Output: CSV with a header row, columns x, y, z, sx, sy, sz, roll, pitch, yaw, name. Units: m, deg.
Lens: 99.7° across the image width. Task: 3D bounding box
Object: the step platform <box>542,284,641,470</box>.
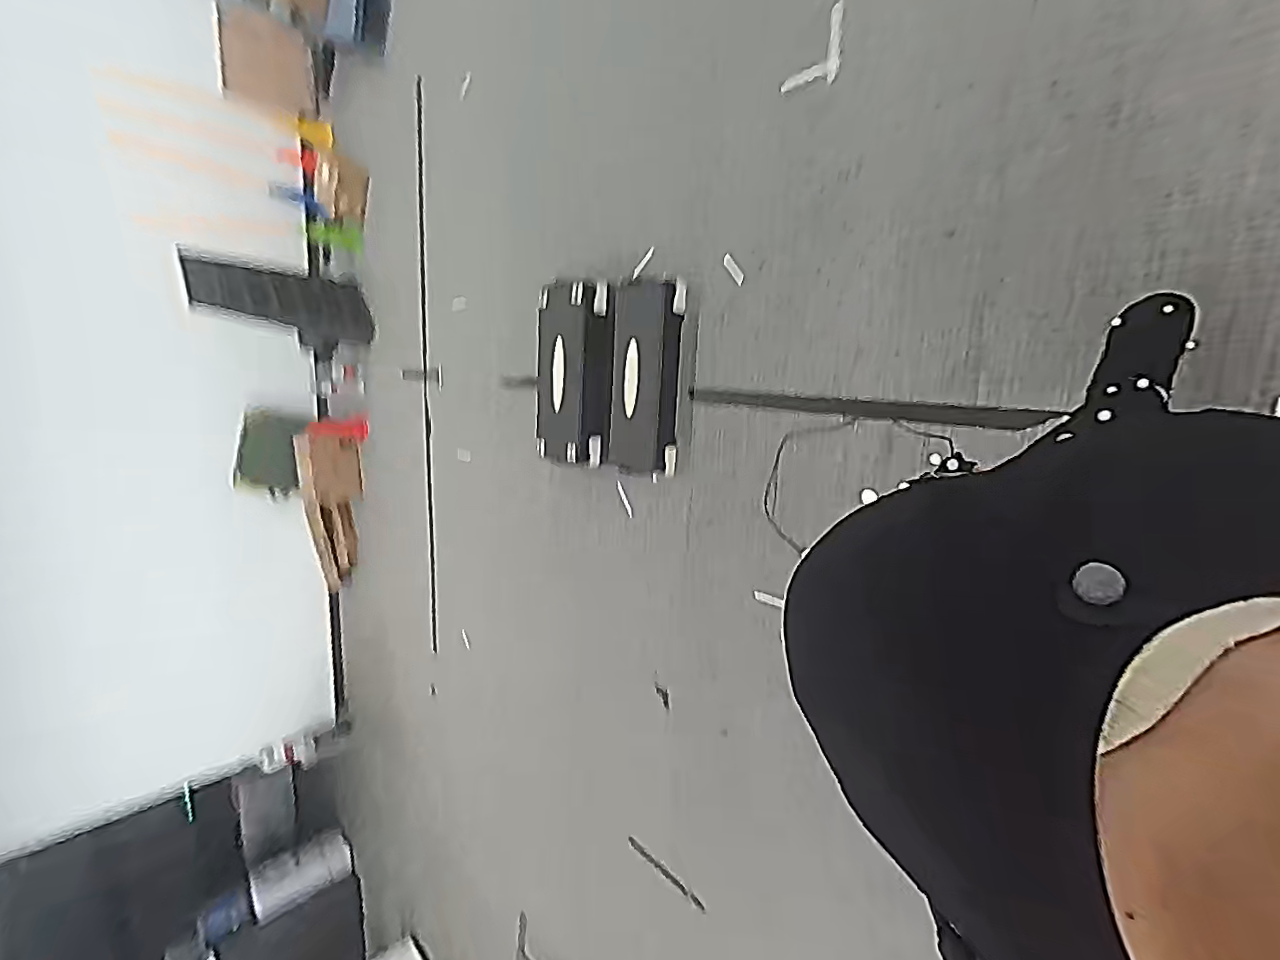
x,y,z,sx,sy,sz,roll,pitch,yaw,name
-0.193,-0.382,2.054,0.286,0.204,0.684,19,106,43,step platform
